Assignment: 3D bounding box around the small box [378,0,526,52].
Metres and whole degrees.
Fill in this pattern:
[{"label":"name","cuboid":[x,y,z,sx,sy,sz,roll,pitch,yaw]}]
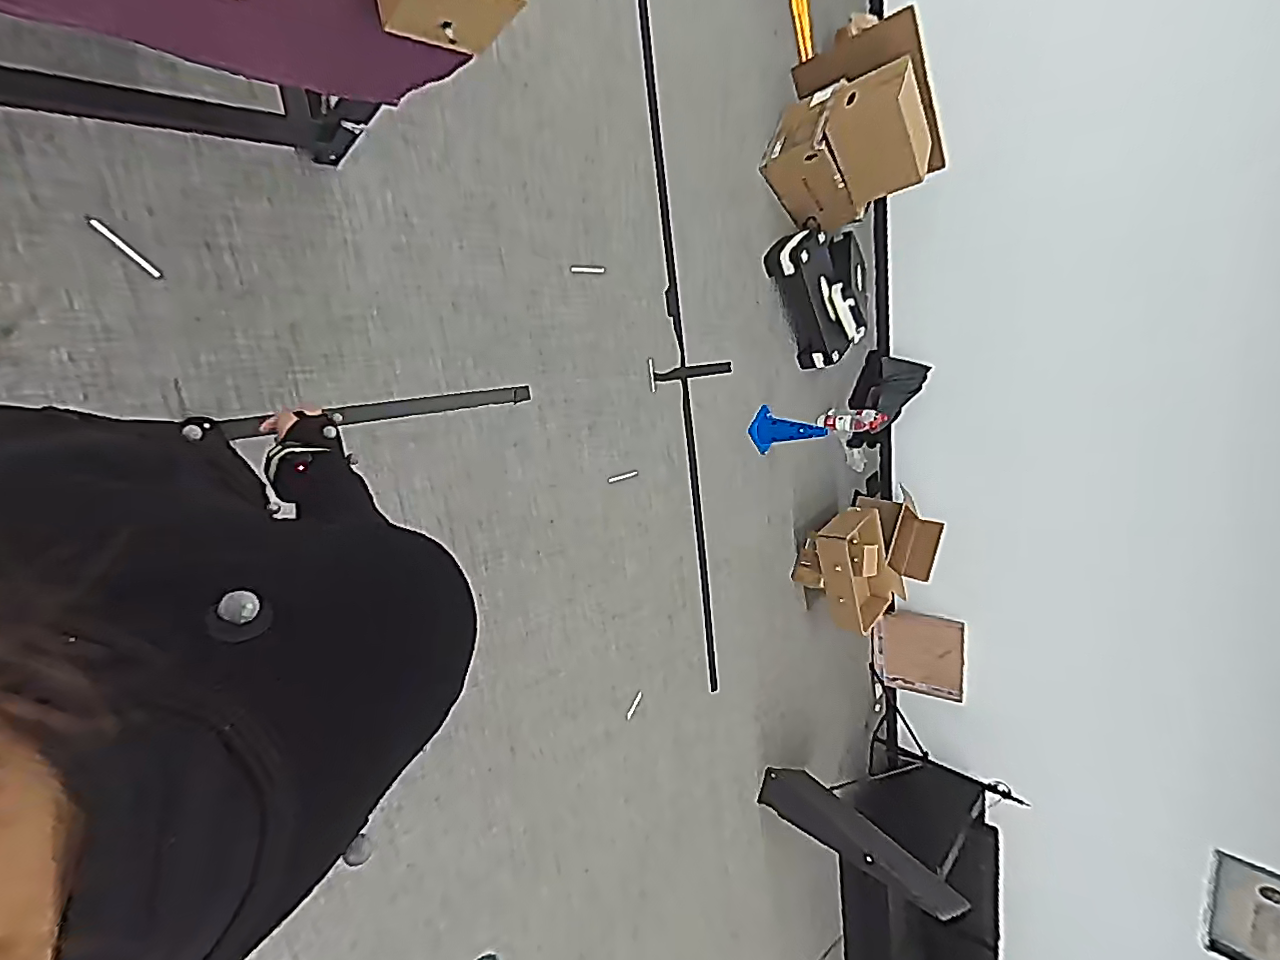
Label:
[{"label":"small box","cuboid":[-0.291,-0.788,0.796,0.168,0.176,0.179,-18,107,-39]}]
